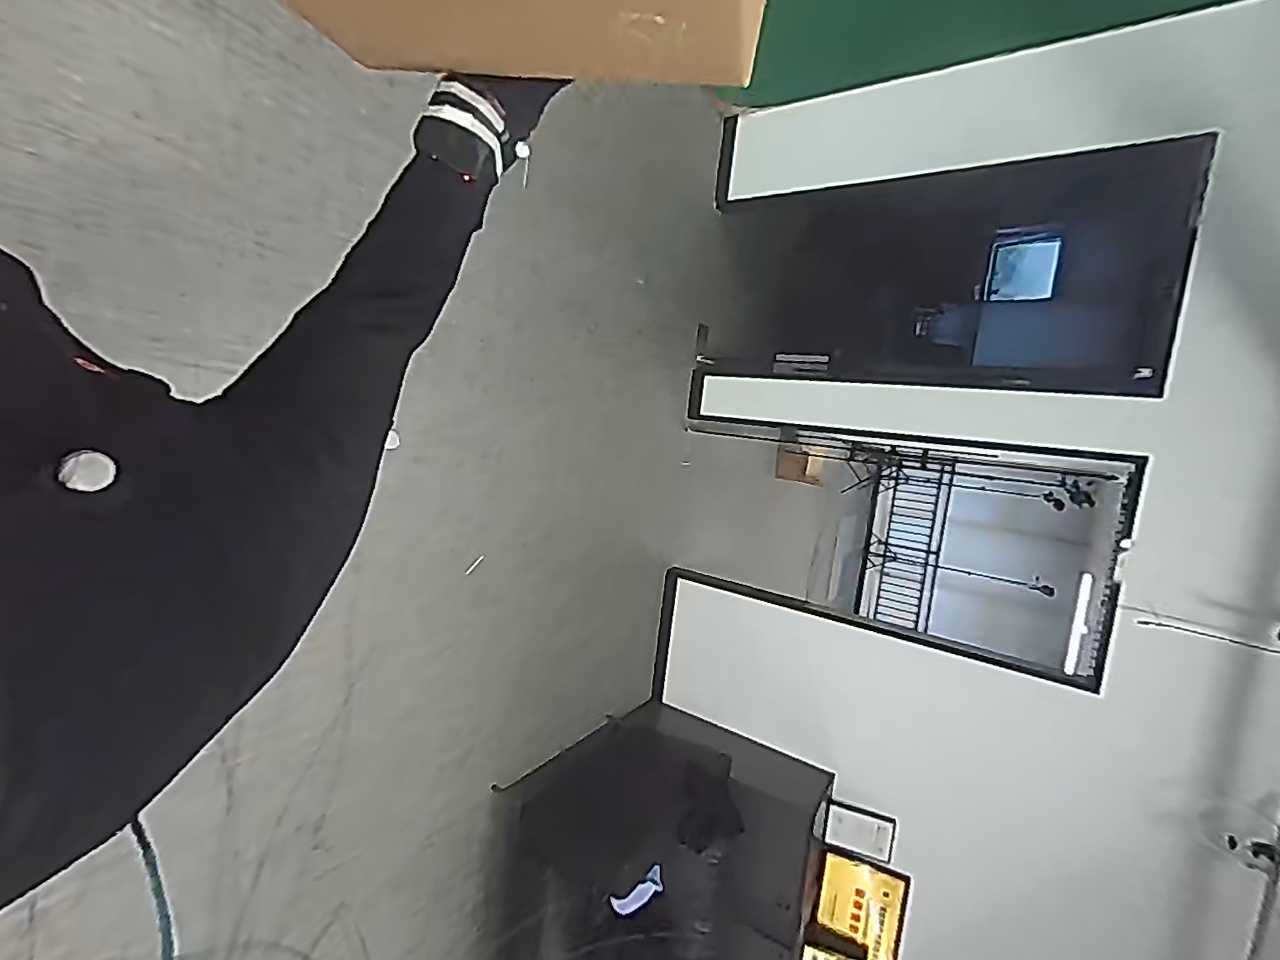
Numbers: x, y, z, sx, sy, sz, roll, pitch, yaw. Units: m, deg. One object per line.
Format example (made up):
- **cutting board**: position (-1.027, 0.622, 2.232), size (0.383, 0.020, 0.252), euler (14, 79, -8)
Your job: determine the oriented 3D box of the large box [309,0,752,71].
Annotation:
- **large box**: position (-0.093, -0.431, 0.196), size (0.408, 0.320, 0.320), euler (-45, 144, -76)
